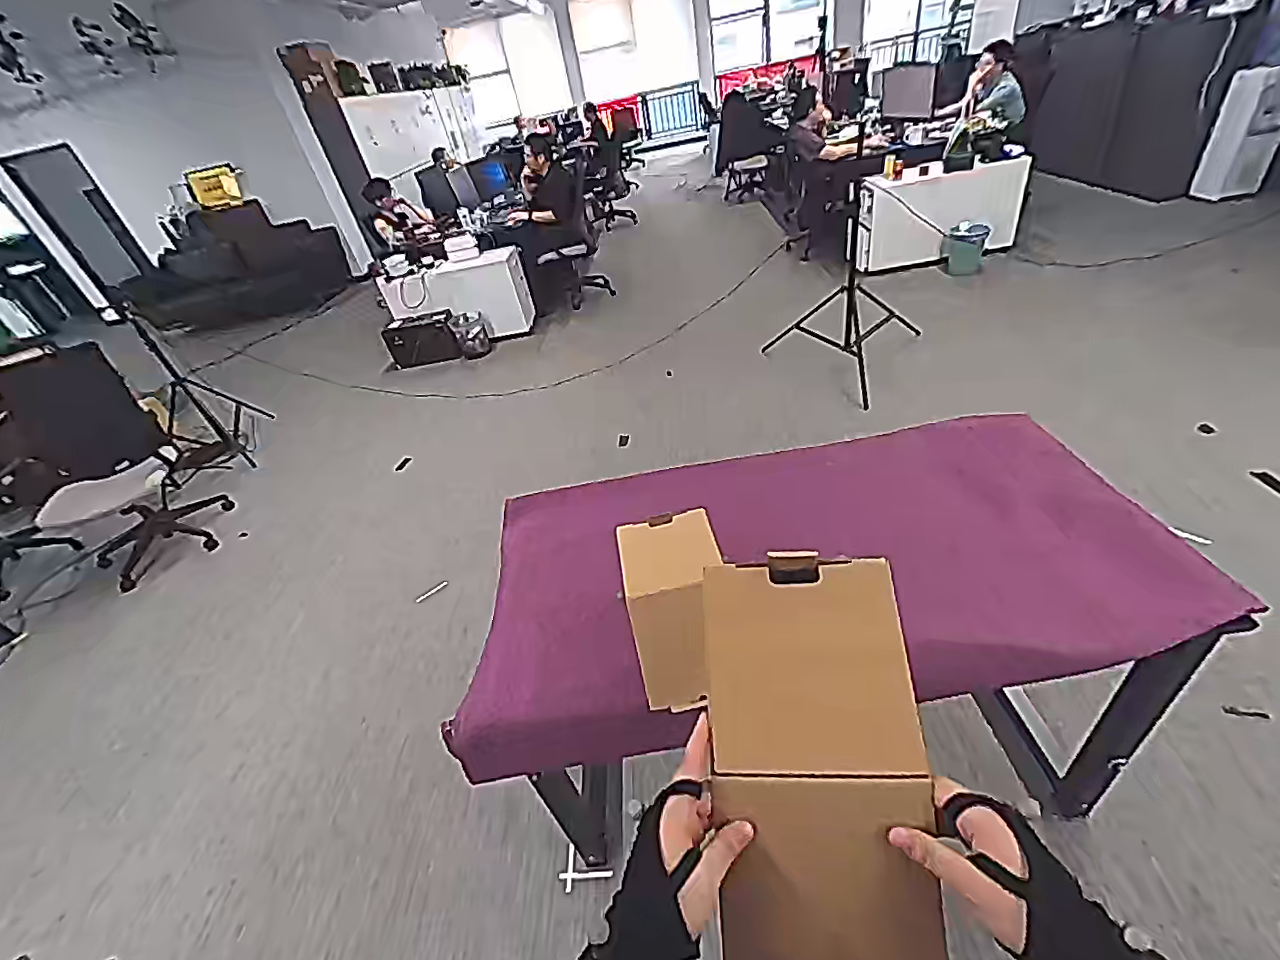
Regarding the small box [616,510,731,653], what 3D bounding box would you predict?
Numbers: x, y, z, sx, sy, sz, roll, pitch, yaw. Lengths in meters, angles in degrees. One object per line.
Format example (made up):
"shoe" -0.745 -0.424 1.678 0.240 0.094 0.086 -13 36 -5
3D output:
"small box" 0.059 0.184 0.958 0.168 0.176 0.179 -12 35 0
